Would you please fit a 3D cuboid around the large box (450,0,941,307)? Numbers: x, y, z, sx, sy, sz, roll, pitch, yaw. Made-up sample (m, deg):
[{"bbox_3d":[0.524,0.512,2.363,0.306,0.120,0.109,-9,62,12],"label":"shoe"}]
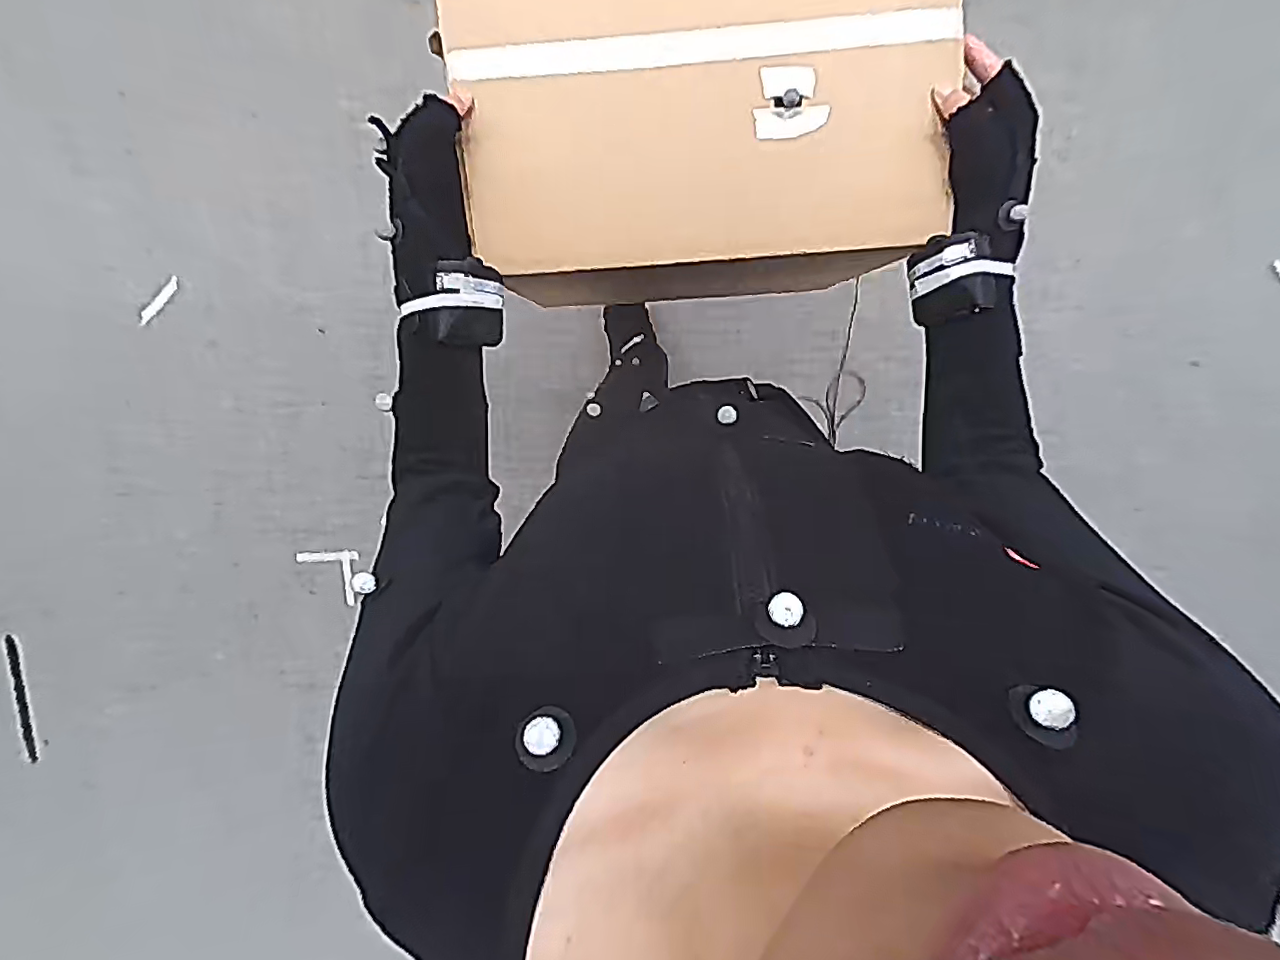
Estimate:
[{"bbox_3d":[0.045,-0.380,0.591,0.408,0.320,0.320,-4,103,0],"label":"large box"}]
